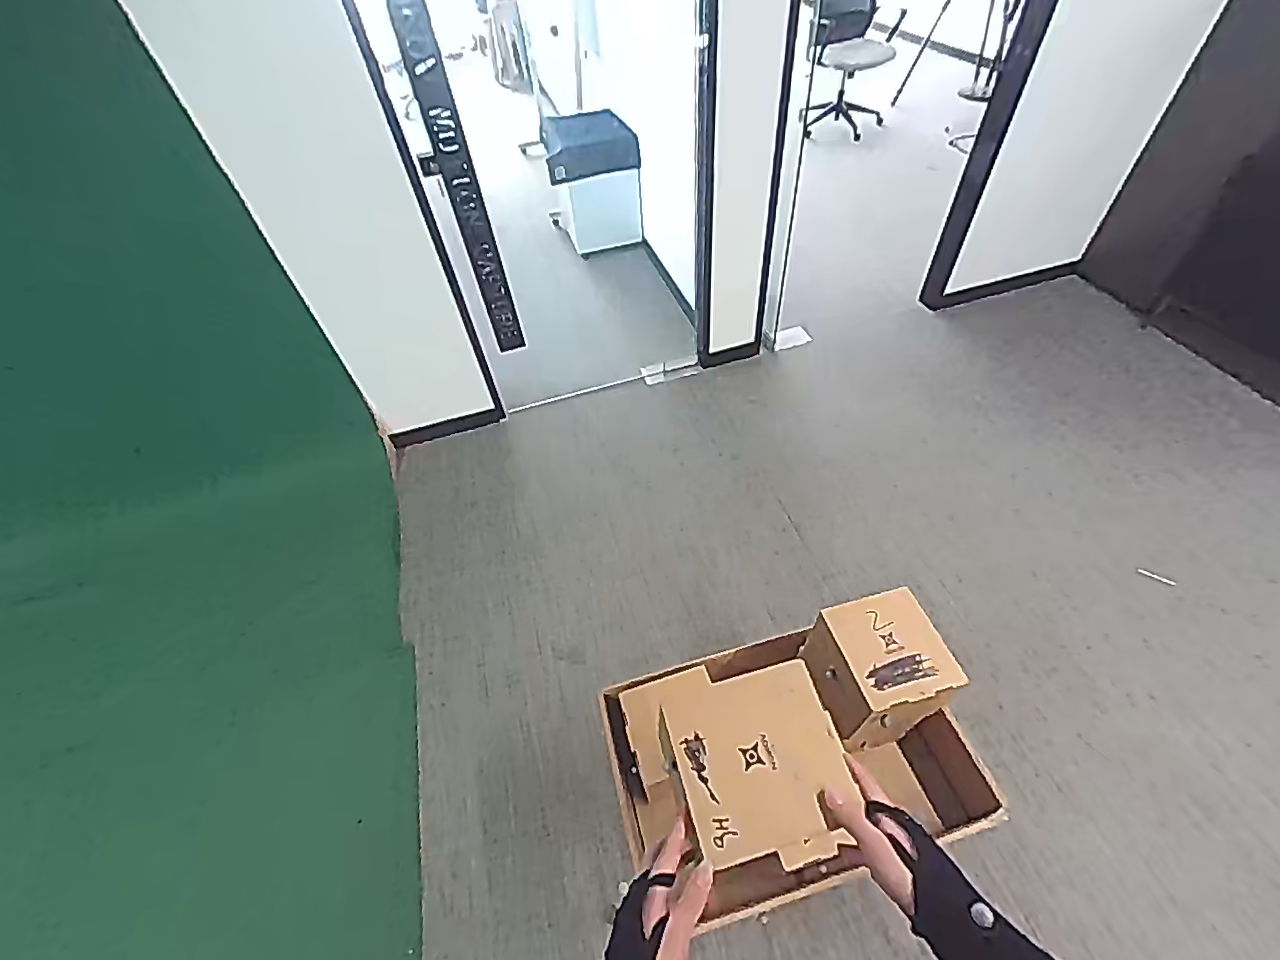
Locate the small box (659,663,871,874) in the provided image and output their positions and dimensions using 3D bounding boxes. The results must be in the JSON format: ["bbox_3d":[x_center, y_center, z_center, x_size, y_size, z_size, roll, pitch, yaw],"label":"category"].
[{"bbox_3d":[0.127,0.335,0.629,0.179,0.176,0.168,-12,55,-8],"label":"small box"}]

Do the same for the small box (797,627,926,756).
[{"bbox_3d":[0.413,0.420,1.061,0.168,0.176,0.179,-13,51,-6],"label":"small box"}]
